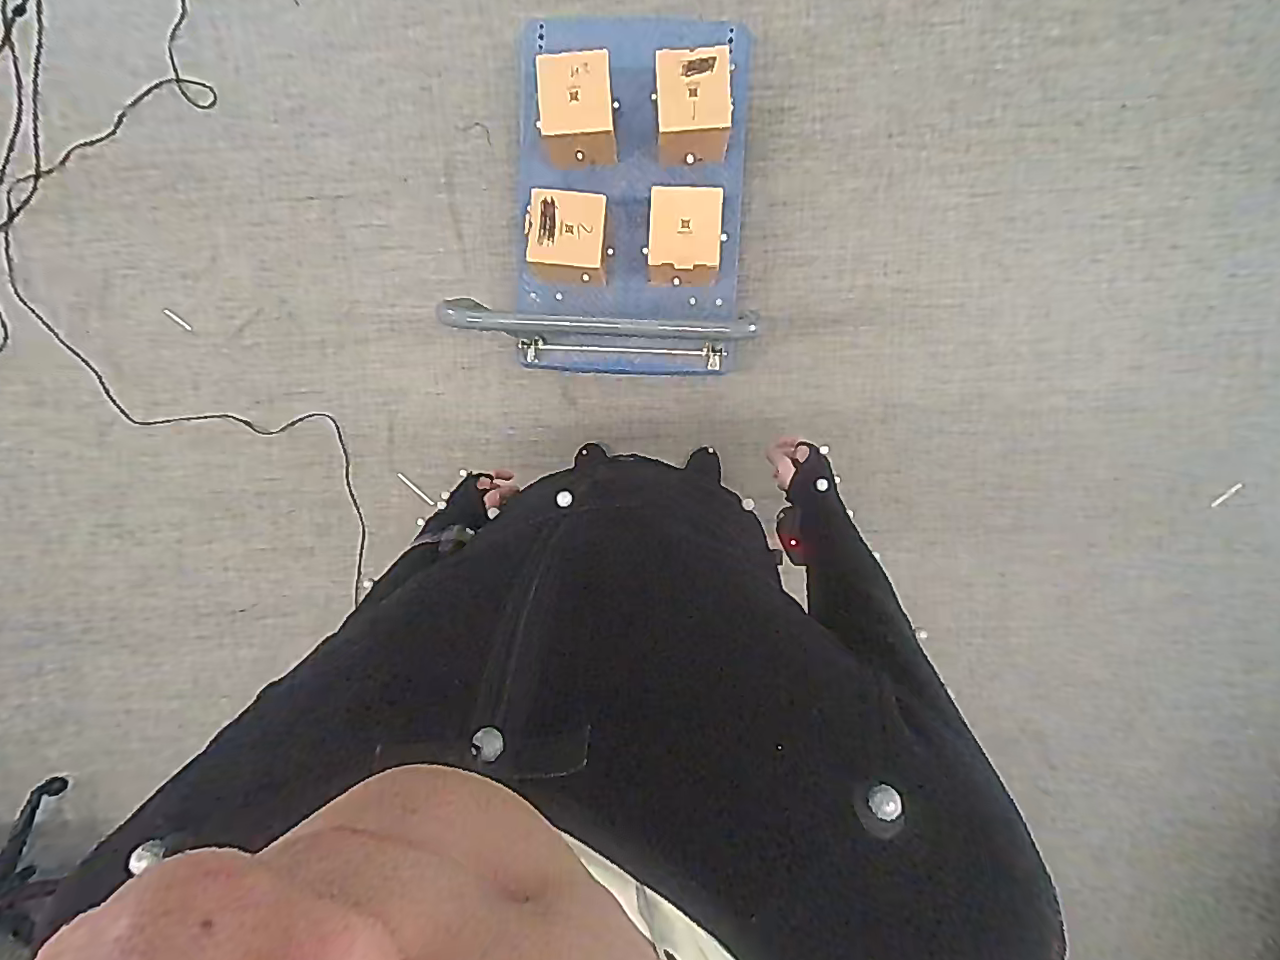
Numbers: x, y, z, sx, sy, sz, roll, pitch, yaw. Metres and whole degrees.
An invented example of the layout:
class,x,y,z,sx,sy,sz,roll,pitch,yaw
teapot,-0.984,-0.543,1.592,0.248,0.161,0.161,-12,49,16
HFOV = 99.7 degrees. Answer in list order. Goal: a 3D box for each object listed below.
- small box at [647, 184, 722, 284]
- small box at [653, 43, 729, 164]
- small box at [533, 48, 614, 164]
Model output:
class,x,y,z,sx,sy,sz,roll,pitch,yaw
small box,0.102,-0.593,1.317,0.168,0.176,0.179,2,96,1
small box,0.117,-0.888,1.288,0.168,0.176,0.179,-3,96,2
small box,-0.153,-0.882,1.295,0.168,0.176,0.179,-3,95,1
